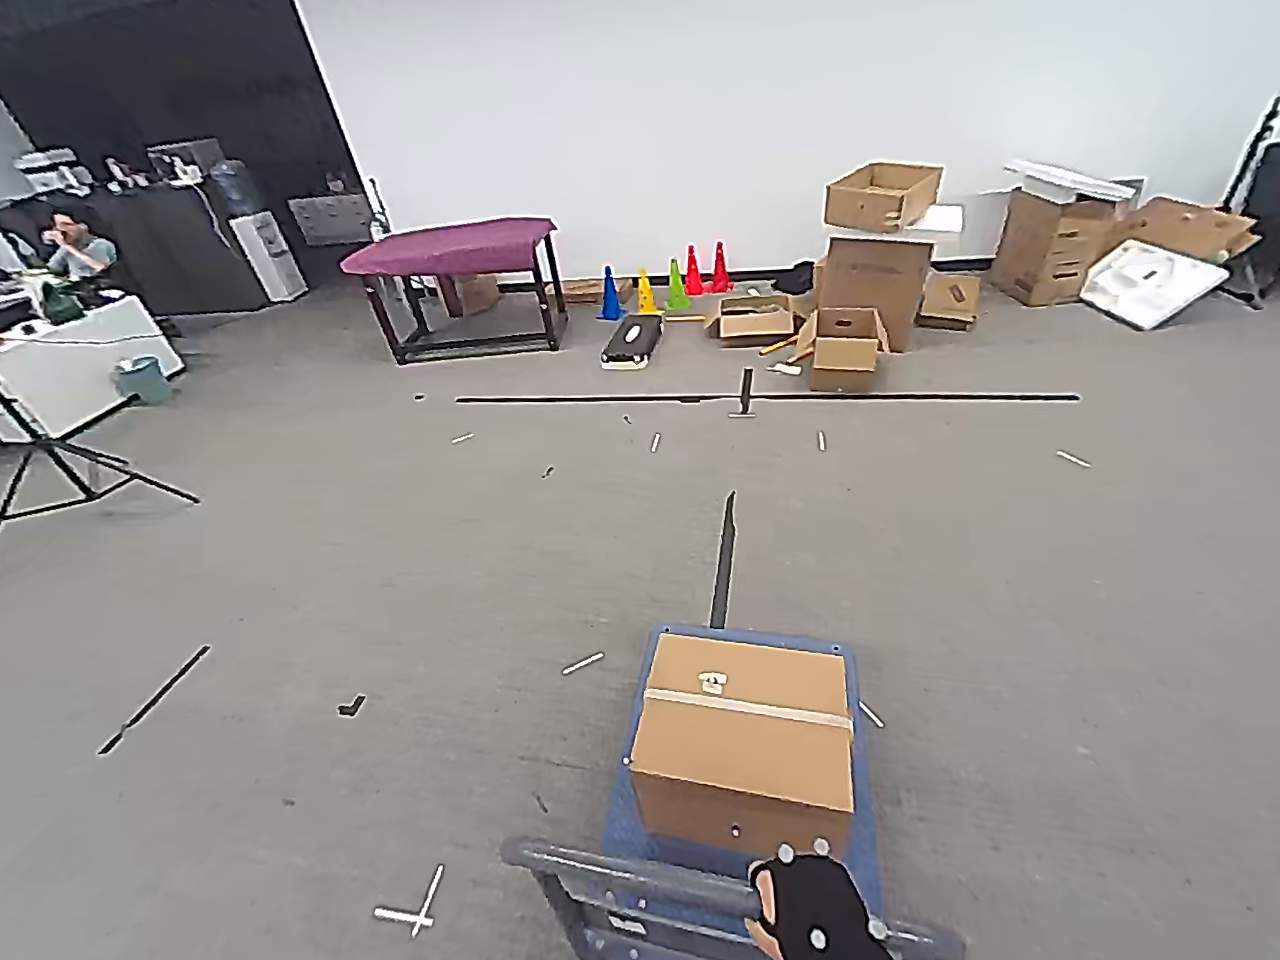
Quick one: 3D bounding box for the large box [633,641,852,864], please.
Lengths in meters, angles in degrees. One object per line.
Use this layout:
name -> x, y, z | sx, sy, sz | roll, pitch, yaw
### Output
large box -> 0.230, 0.589, 1.192 | 0.408, 0.320, 0.320 | 1, 38, 15
